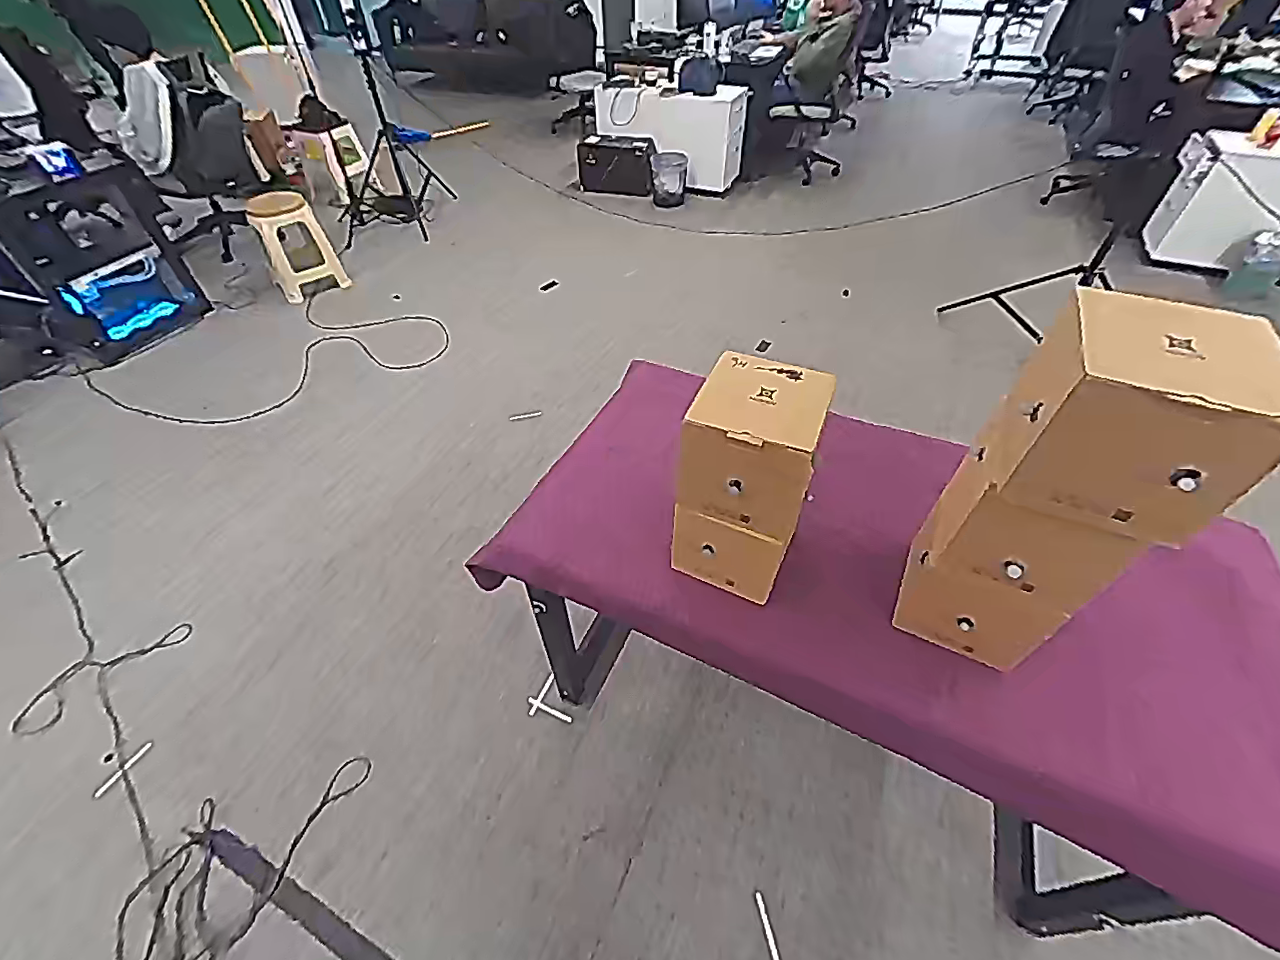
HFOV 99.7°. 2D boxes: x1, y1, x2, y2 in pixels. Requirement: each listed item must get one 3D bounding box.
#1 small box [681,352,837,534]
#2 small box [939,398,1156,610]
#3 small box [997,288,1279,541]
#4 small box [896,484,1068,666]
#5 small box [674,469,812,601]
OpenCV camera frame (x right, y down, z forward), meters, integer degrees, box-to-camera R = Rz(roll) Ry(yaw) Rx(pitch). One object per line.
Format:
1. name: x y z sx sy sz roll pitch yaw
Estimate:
1. small box: 0.164 -0.051 0.770 0.168 0.176 0.179 18 49 16
2. small box: 0.505 0.029 0.688 0.168 0.176 0.179 21 51 19
3. small box: 0.495 -0.067 0.555 0.168 0.176 0.179 19 49 17
4. small box: 0.502 0.143 0.806 0.168 0.176 0.179 22 50 19
5. small box: 0.164 0.067 0.884 0.168 0.176 0.179 20 49 18
